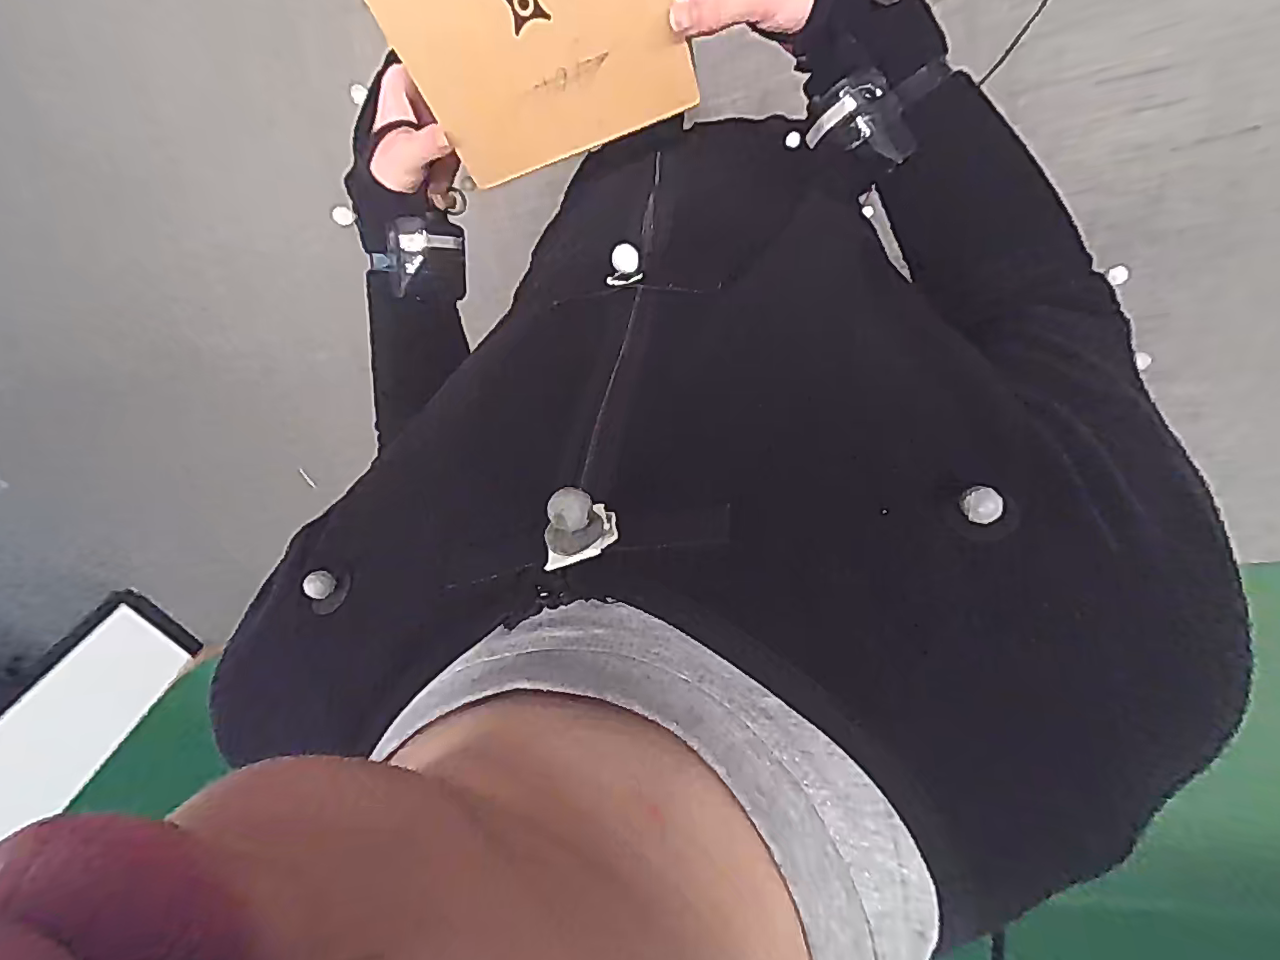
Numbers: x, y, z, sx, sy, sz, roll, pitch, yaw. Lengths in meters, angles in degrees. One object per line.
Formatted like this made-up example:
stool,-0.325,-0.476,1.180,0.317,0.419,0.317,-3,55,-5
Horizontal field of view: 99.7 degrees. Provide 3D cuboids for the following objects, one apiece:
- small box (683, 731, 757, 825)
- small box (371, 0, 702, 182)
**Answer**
small box,0.210,0.771,1.405,0.168,0.176,0.179,-7,128,15
small box,-0.065,-0.336,0.338,0.168,0.176,0.179,-11,145,17
